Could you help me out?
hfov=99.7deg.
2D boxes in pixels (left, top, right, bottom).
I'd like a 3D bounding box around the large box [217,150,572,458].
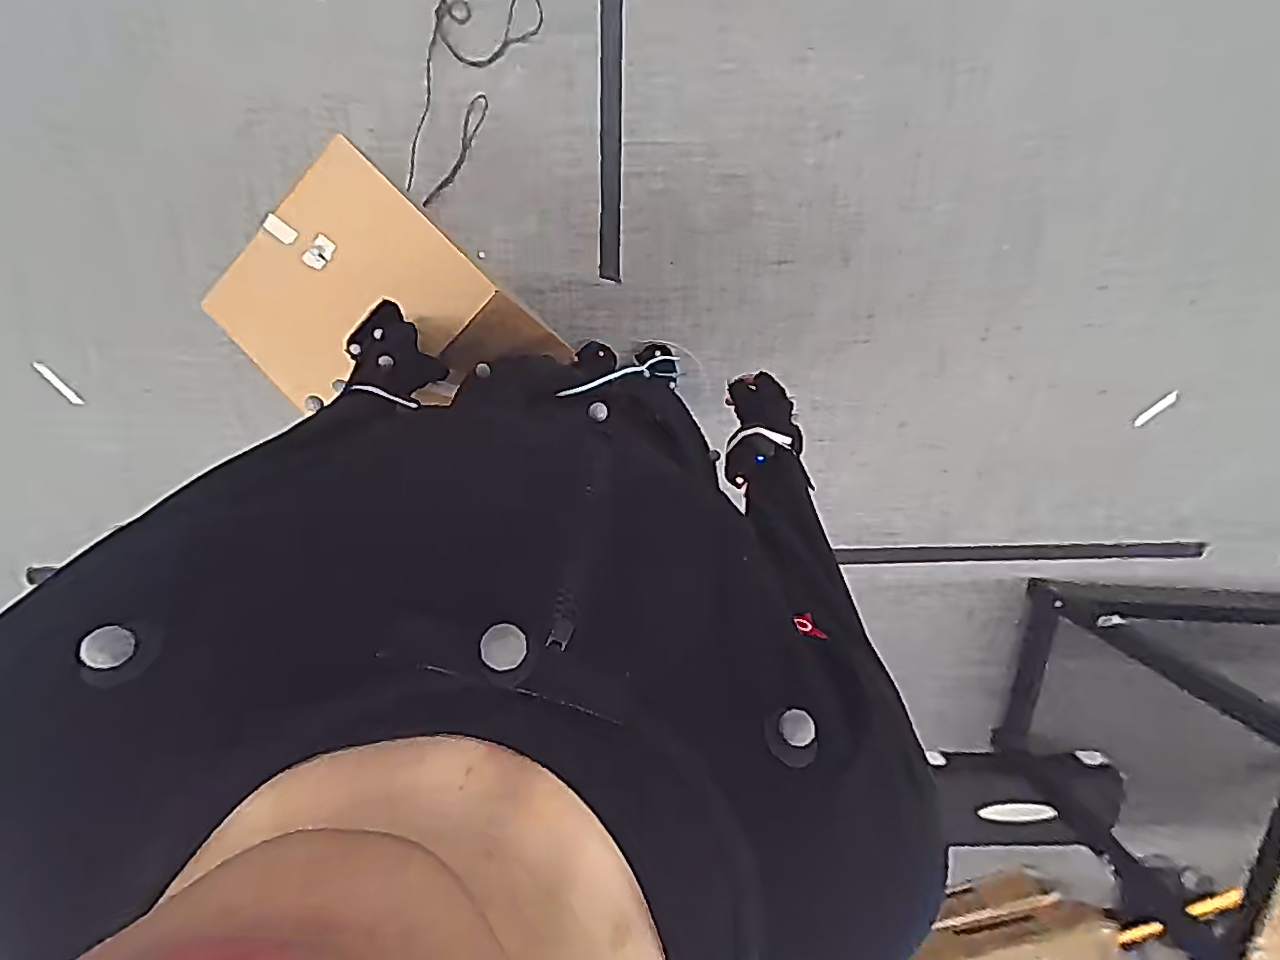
[{"bbox_3d":[-0.376,-0.255,0.933,0.320,0.408,0.320,45,97,3],"label":"large box"}]
